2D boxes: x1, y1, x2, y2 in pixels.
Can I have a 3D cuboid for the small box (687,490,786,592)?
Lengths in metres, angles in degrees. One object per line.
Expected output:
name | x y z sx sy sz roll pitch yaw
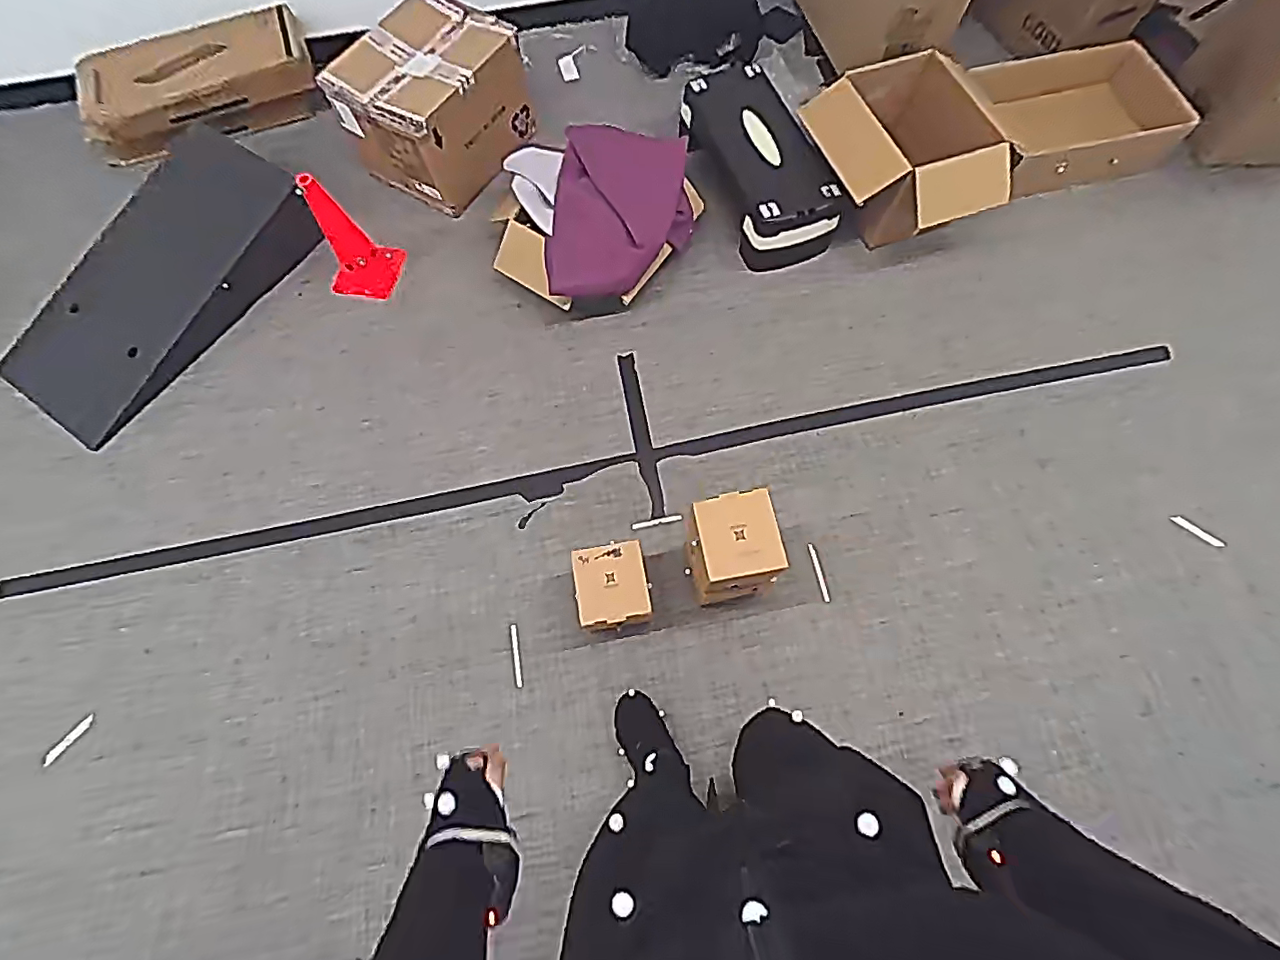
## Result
small box | 0.203 0.140 1.196 0.168 0.176 0.179 -10 72 -2

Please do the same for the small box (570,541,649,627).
small box | -0.071 0.262 1.328 0.168 0.176 0.179 -9 71 -2

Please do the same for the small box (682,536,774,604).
small box | 0.210 0.203 1.345 0.179 0.176 0.168 -11 71 -4
